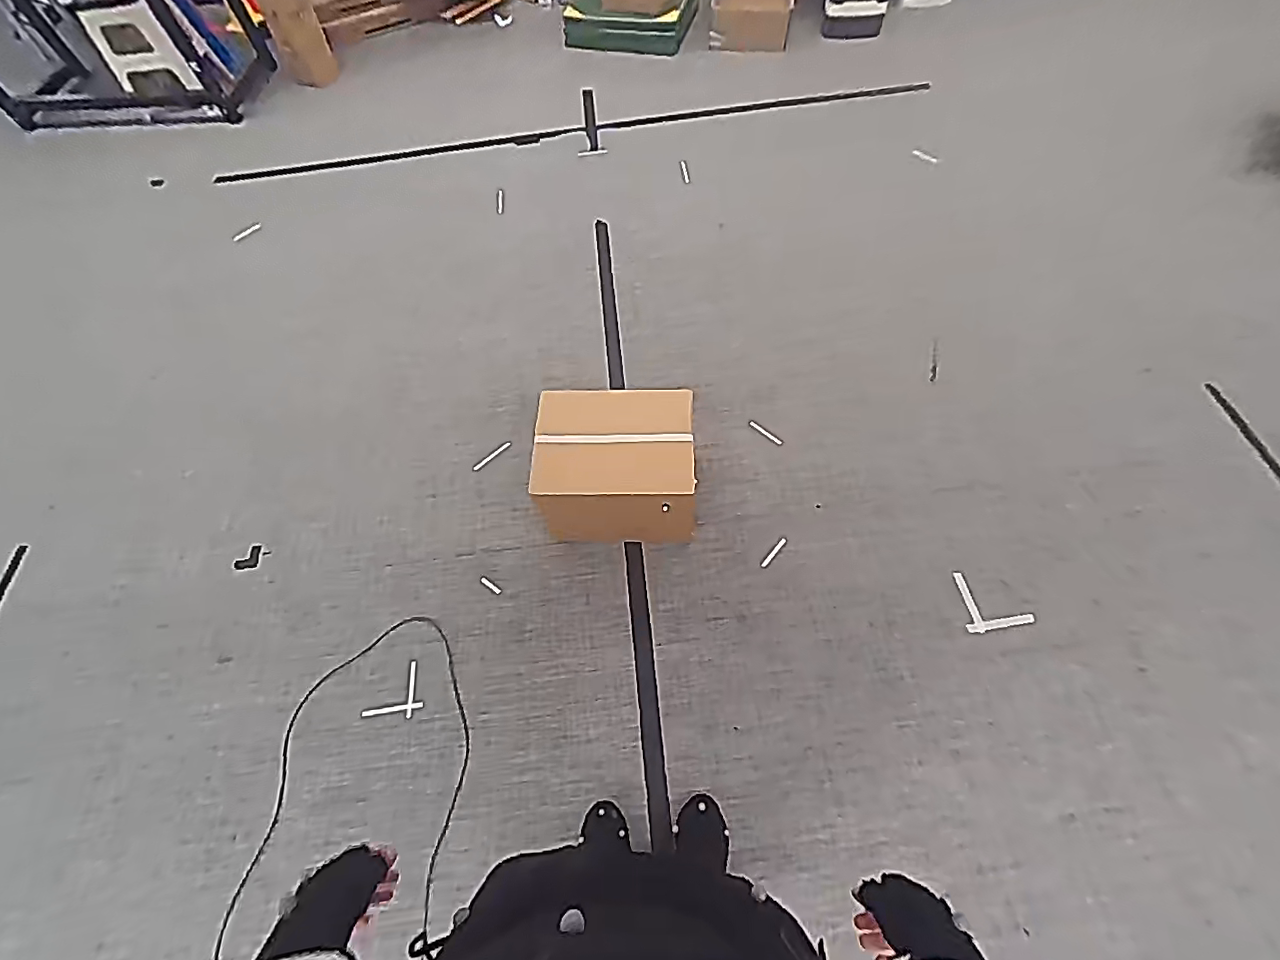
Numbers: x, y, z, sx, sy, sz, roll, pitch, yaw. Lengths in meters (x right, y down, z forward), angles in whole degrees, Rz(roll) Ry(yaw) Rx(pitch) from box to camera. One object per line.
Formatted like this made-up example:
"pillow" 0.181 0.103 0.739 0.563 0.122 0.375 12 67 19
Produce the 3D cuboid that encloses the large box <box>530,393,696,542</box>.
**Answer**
"large box" -0.058 -0.023 1.490 0.408 0.320 0.320 0 62 2
